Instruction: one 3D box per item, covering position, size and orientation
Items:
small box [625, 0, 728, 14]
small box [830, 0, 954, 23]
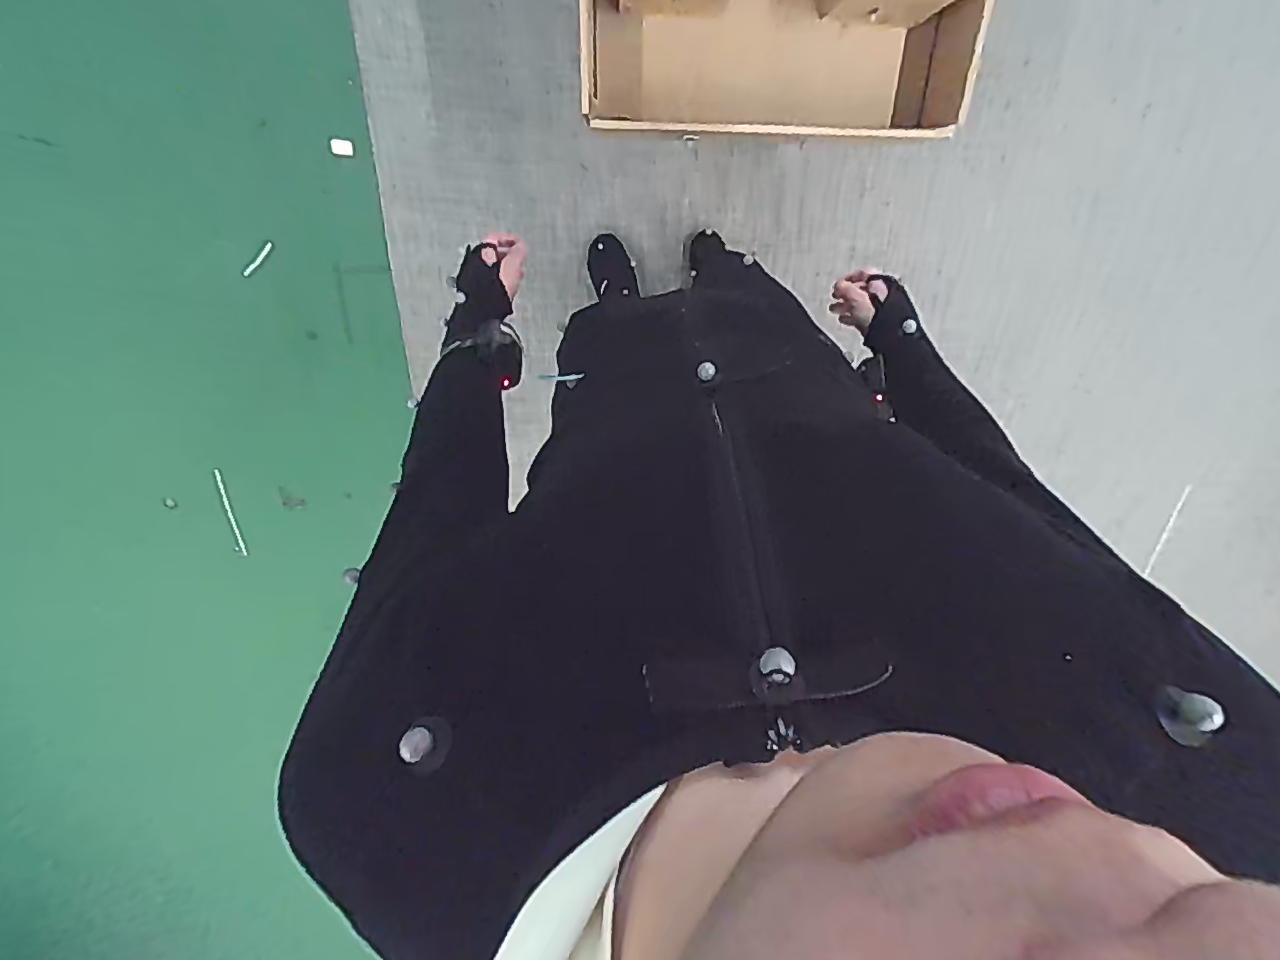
[{"bbox_3d":[0.062,-0.814,0.790,0.179,0.176,0.168,1,117,-3],"label":"small box"},{"bbox_3d":[0.399,-0.818,0.800,0.168,0.176,0.179,1,117,-3],"label":"small box"}]
